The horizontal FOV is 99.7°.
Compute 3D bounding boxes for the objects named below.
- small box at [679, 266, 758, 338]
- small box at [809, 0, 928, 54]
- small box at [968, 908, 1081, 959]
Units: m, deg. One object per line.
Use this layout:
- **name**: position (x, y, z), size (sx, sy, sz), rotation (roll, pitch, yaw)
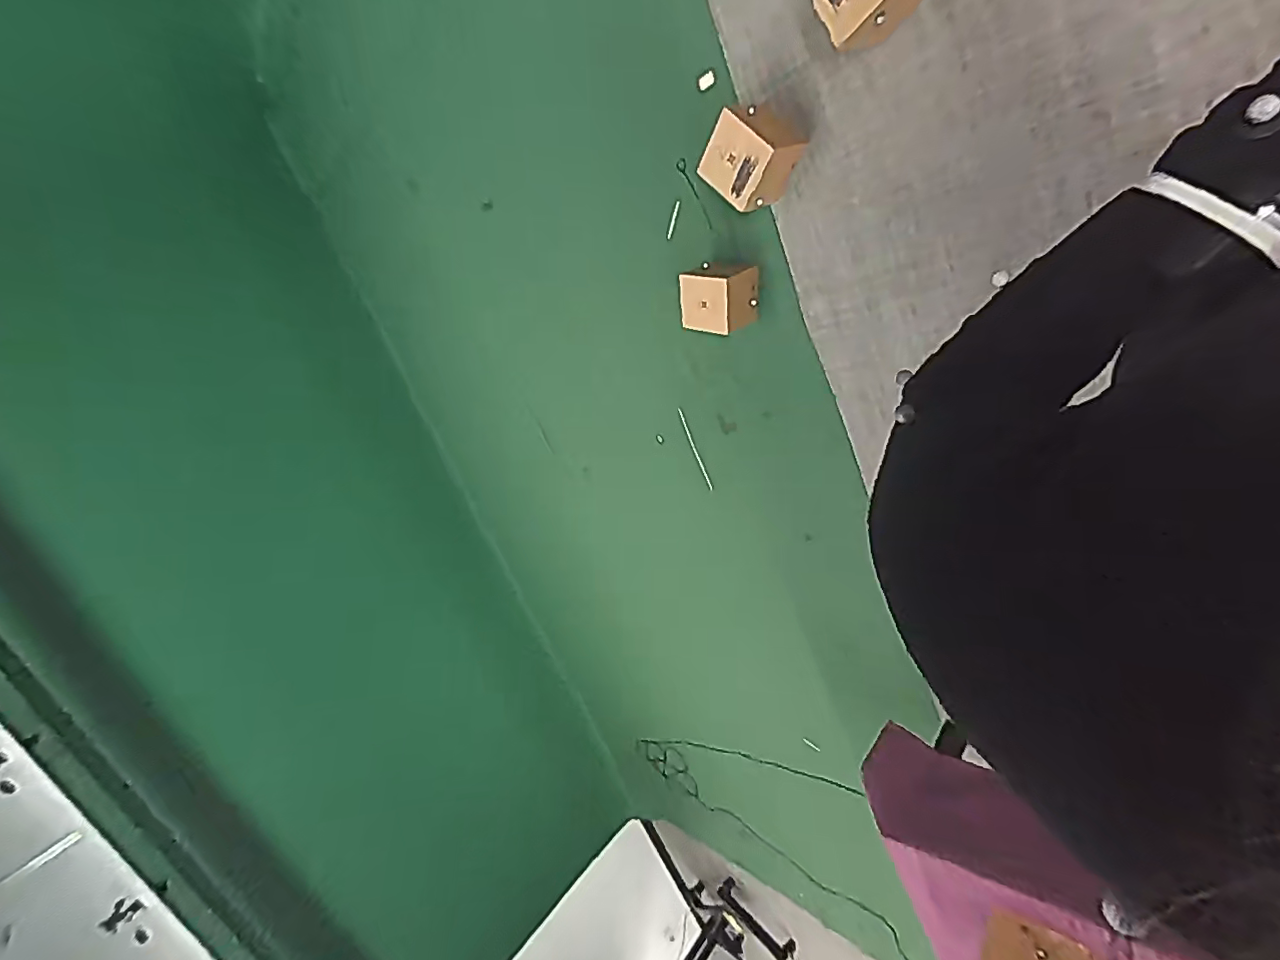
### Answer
- **small box**: position (0.240, -0.554, 1.663), size (0.179, 0.176, 0.168), rotation (23, 133, 37)
- **small box**: position (0.461, -0.988, 1.071), size (0.179, 0.176, 0.168), rotation (-24, 99, 53)
- **small box**: position (0.752, 1.000, 1.047), size (0.168, 0.176, 0.179), rotation (-2, 115, 49)
